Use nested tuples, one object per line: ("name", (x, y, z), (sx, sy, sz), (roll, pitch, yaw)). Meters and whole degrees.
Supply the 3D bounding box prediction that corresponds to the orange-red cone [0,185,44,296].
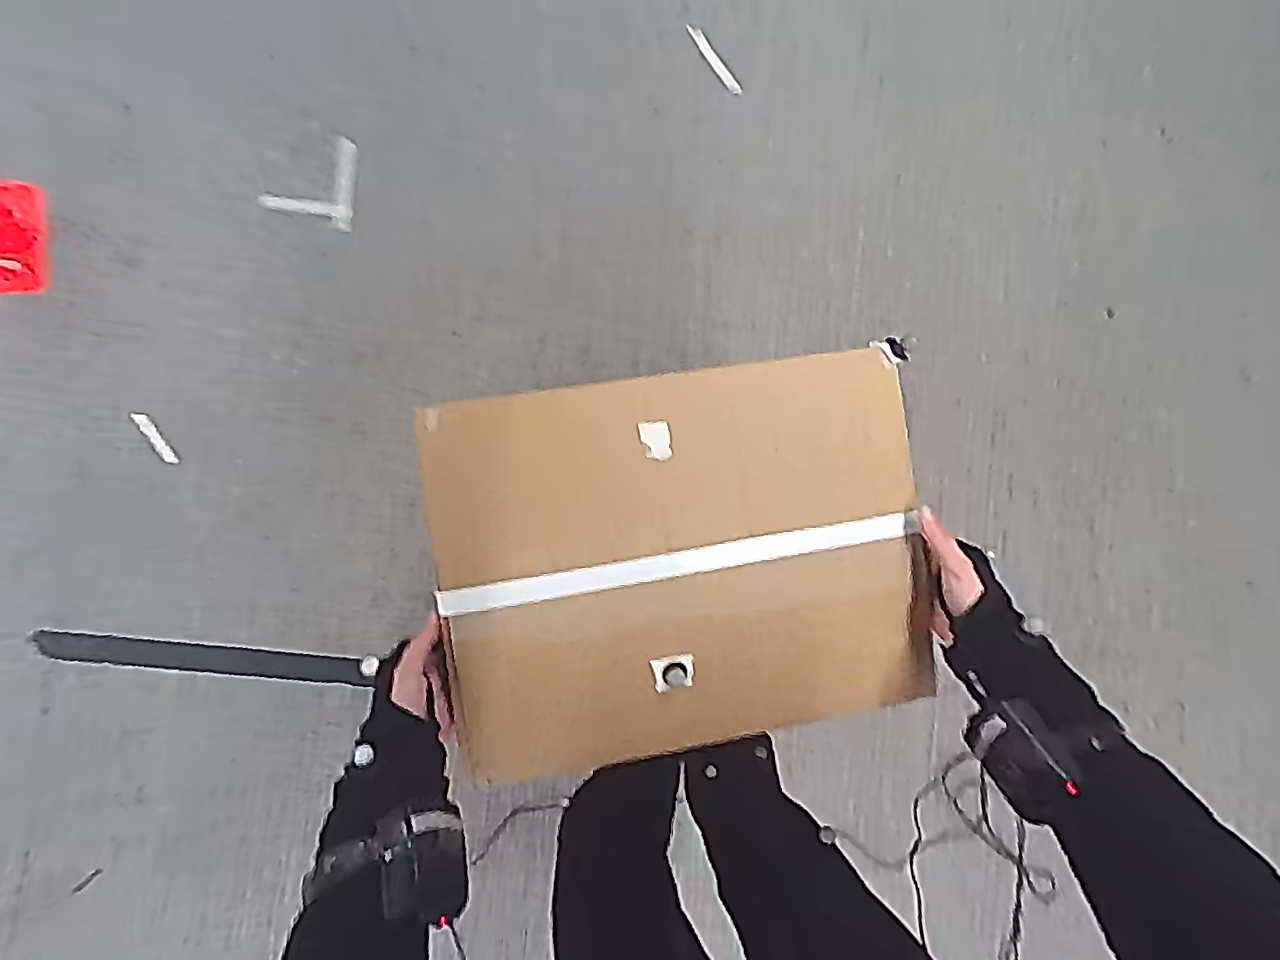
("orange-red cone", (-1.139, -0.431, 0.780), (0.198, 0.360, 0.199), (-2, 88, -7))
